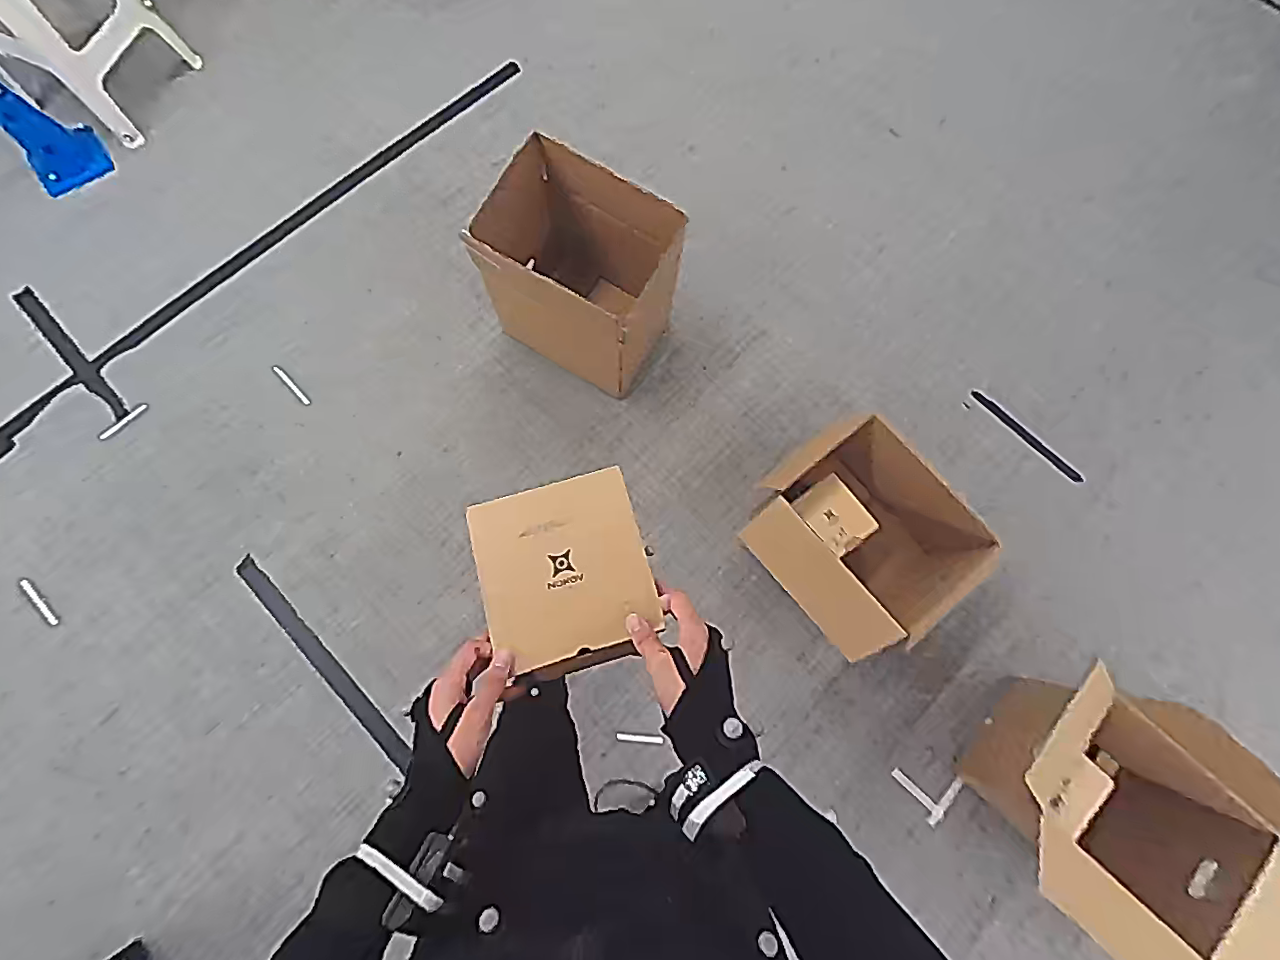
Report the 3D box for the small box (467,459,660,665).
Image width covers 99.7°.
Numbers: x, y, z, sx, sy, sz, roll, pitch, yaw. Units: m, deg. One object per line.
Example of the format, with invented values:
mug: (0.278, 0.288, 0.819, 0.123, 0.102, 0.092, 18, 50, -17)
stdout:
small box: (-0.078, 0.094, 0.621, 0.168, 0.176, 0.179, -15, 79, -4)
